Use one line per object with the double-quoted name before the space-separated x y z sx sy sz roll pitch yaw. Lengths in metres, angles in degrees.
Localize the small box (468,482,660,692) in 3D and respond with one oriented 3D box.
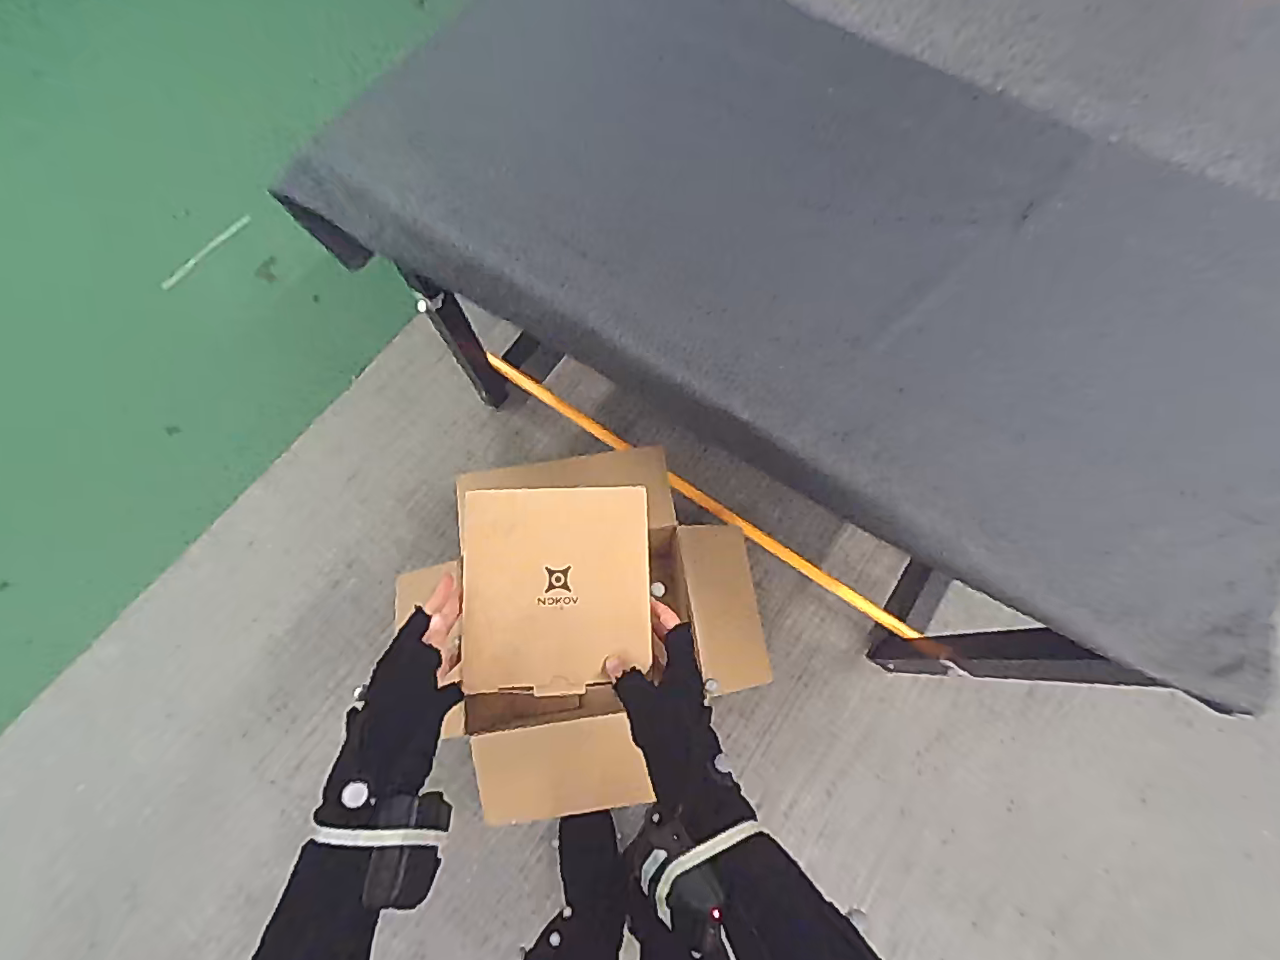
"small box" -0.074 0.102 0.552 0.168 0.176 0.179 -2 82 -5
